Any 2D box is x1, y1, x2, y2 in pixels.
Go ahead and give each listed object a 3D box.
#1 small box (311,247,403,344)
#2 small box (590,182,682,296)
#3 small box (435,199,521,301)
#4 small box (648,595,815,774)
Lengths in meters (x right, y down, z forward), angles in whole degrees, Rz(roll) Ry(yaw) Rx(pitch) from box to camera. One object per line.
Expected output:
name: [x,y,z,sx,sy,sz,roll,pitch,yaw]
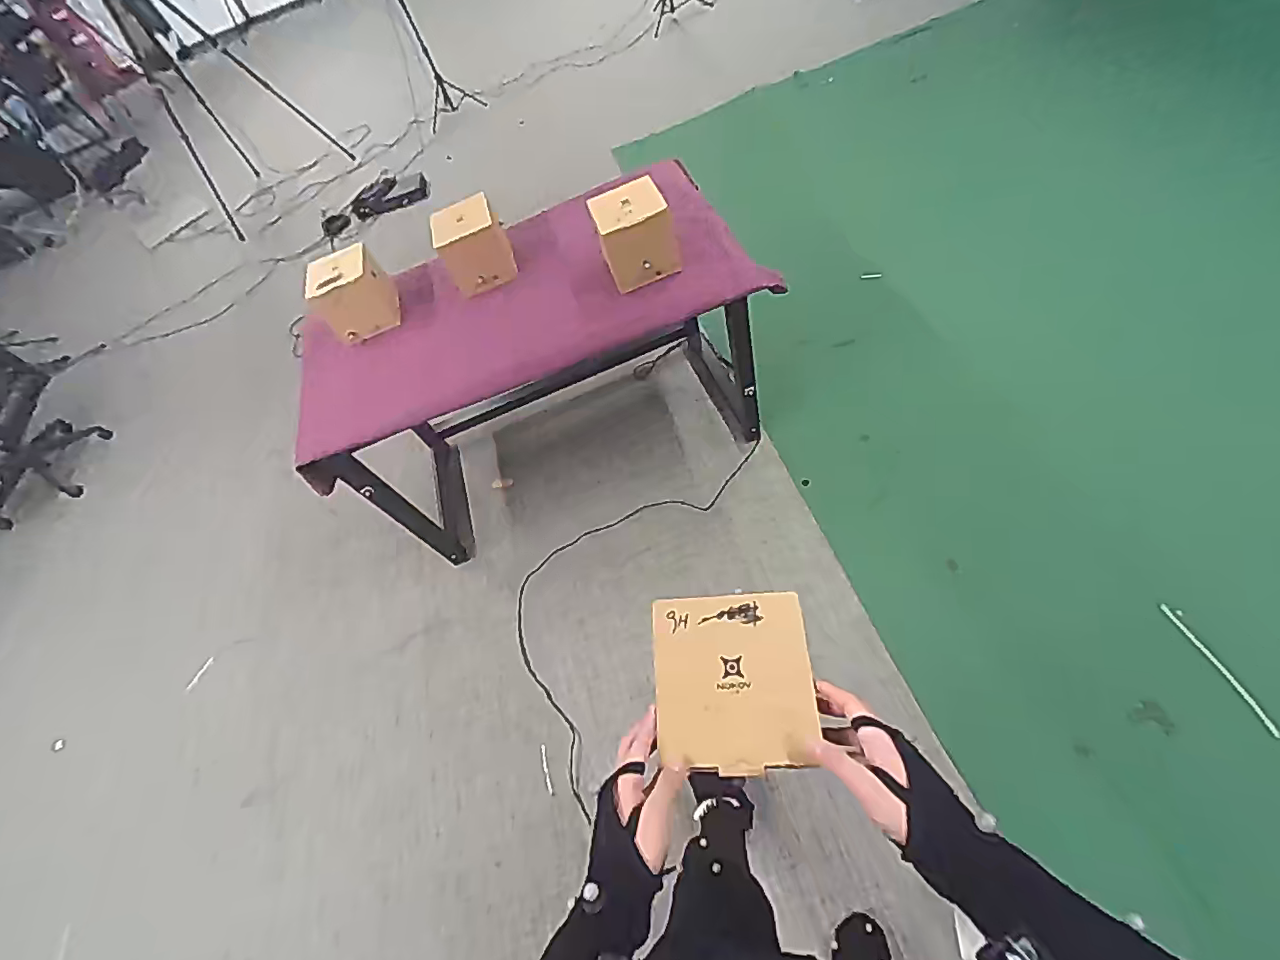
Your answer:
small box: [-0.781,-0.505,1.508,0.168,0.176,0.179,-22,55,1]
small box: [-0.008,-0.591,1.336,0.168,0.176,0.179,-21,54,4]
small box: [-0.447,-0.634,1.497,0.168,0.176,0.179,-21,56,3]
small box: [0.101,0.245,0.640,0.168,0.176,0.179,-4,62,6]
